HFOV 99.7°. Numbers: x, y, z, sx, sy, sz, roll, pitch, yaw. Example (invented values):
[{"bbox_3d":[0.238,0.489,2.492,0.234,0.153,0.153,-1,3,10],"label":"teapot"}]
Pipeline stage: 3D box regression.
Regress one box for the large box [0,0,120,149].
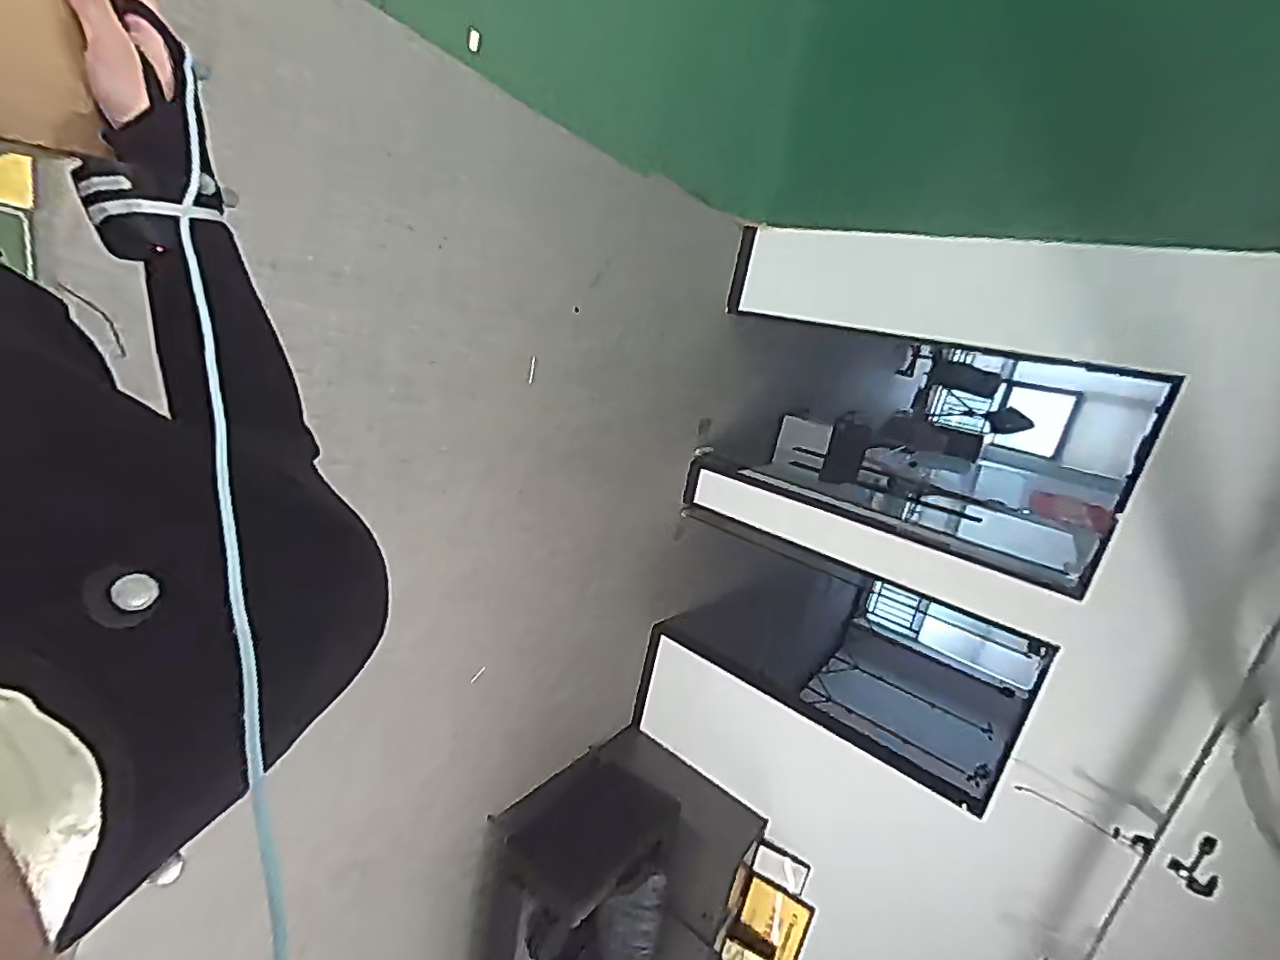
[{"bbox_3d":[-0.620,-0.421,0.304,0.408,0.320,0.320,-13,120,-51],"label":"large box"}]
